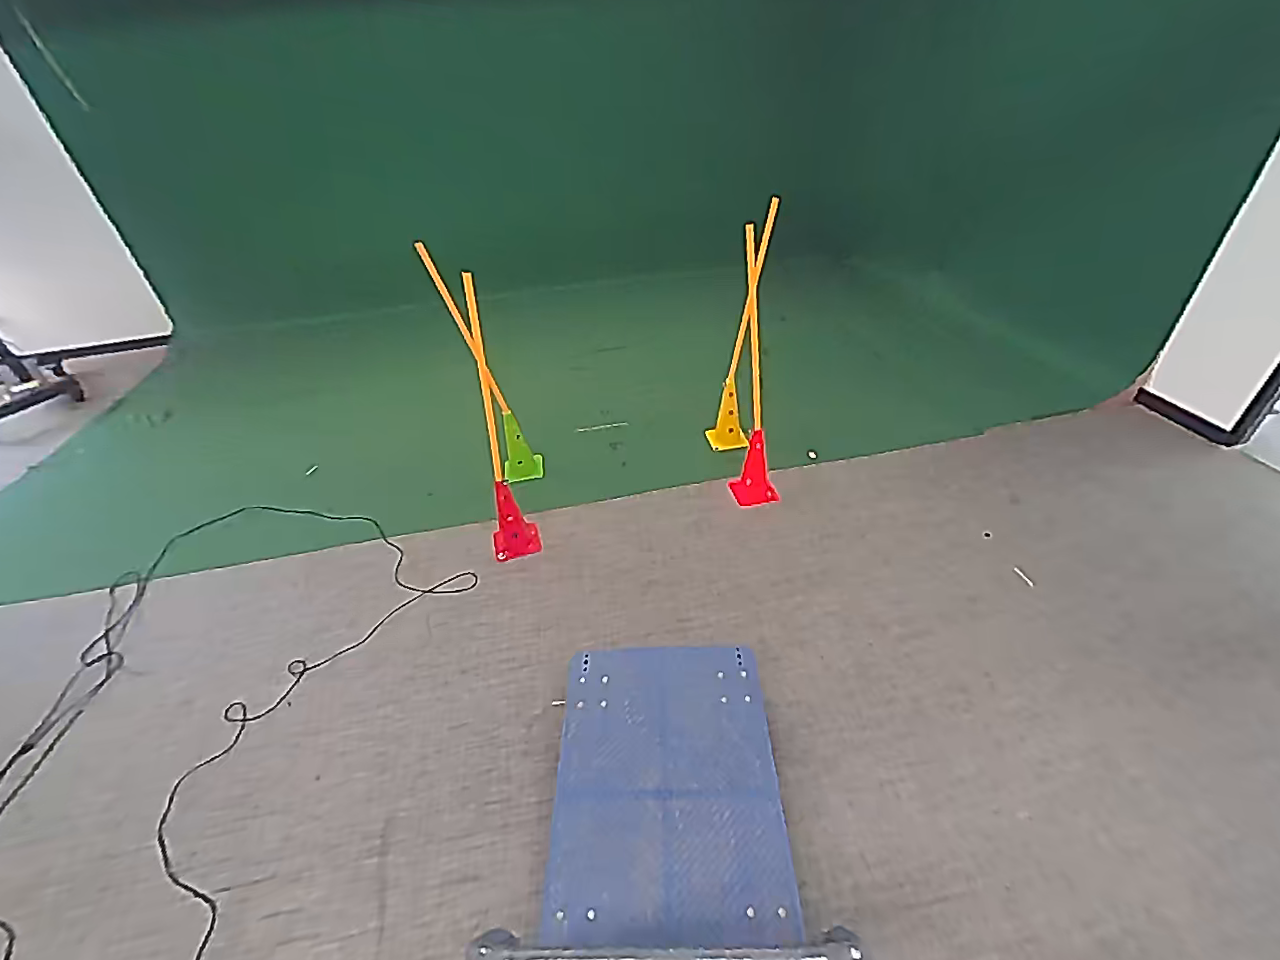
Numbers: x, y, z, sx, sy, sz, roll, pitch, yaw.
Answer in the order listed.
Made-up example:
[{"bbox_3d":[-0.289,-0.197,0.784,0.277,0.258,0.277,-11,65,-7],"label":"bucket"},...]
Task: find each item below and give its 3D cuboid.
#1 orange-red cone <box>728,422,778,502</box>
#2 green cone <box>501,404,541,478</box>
[{"bbox_3d":[0.519,-0.102,2.444,0.198,0.360,0.199,-9,37,-6],"label":"orange-red cone"},{"bbox_3d":[-0.634,-0.215,2.718,0.200,0.368,0.202,-10,38,-5],"label":"green cone"}]
